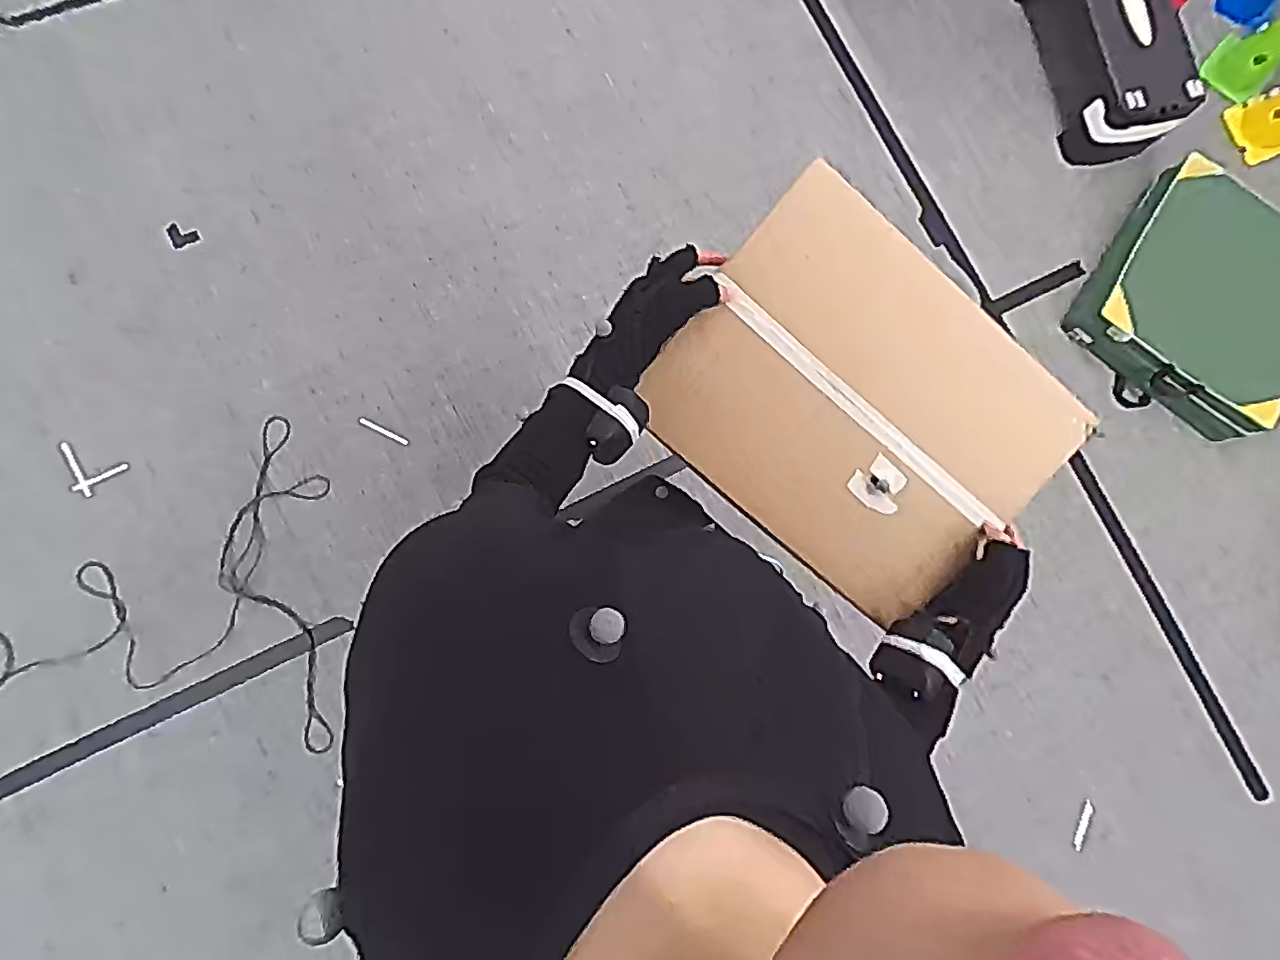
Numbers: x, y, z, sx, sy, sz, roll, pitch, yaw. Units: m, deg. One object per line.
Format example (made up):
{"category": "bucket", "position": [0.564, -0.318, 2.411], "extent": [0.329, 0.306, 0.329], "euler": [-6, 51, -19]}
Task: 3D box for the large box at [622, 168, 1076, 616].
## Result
{"category": "large box", "position": [0.221, -0.101, 0.725], "extent": [0.408, 0.320, 0.320], "euler": [40, 96, -6]}
